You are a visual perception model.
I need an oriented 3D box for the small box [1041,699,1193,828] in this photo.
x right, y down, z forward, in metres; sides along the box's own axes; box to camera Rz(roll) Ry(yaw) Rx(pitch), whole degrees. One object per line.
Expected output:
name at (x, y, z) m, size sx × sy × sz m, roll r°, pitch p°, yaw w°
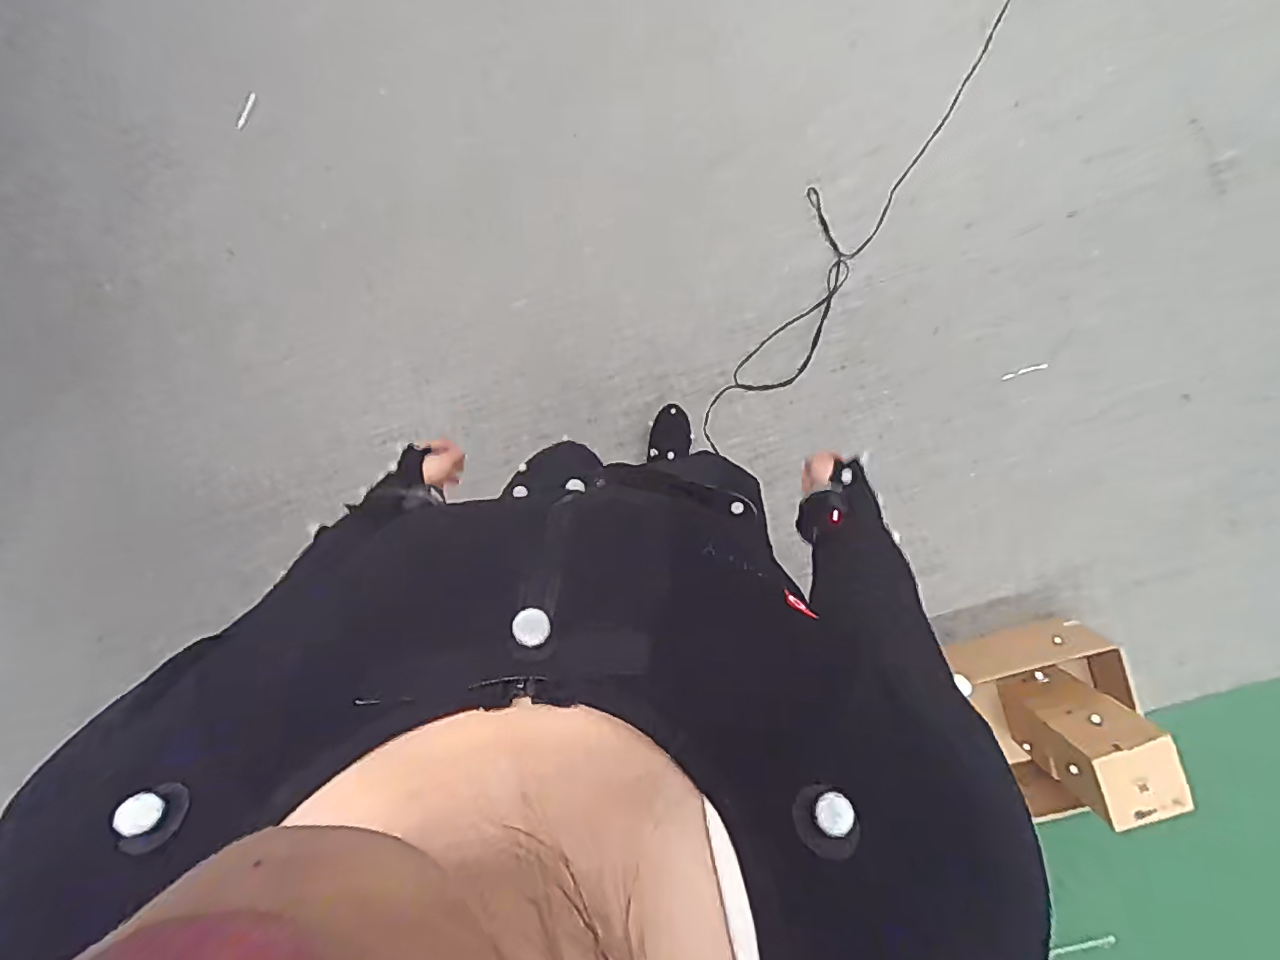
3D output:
small box at (1.040, 0.612, 1.196) m, size 0.168 × 0.176 × 0.179 m, roll -21°, pitch 94°, yaw 5°
